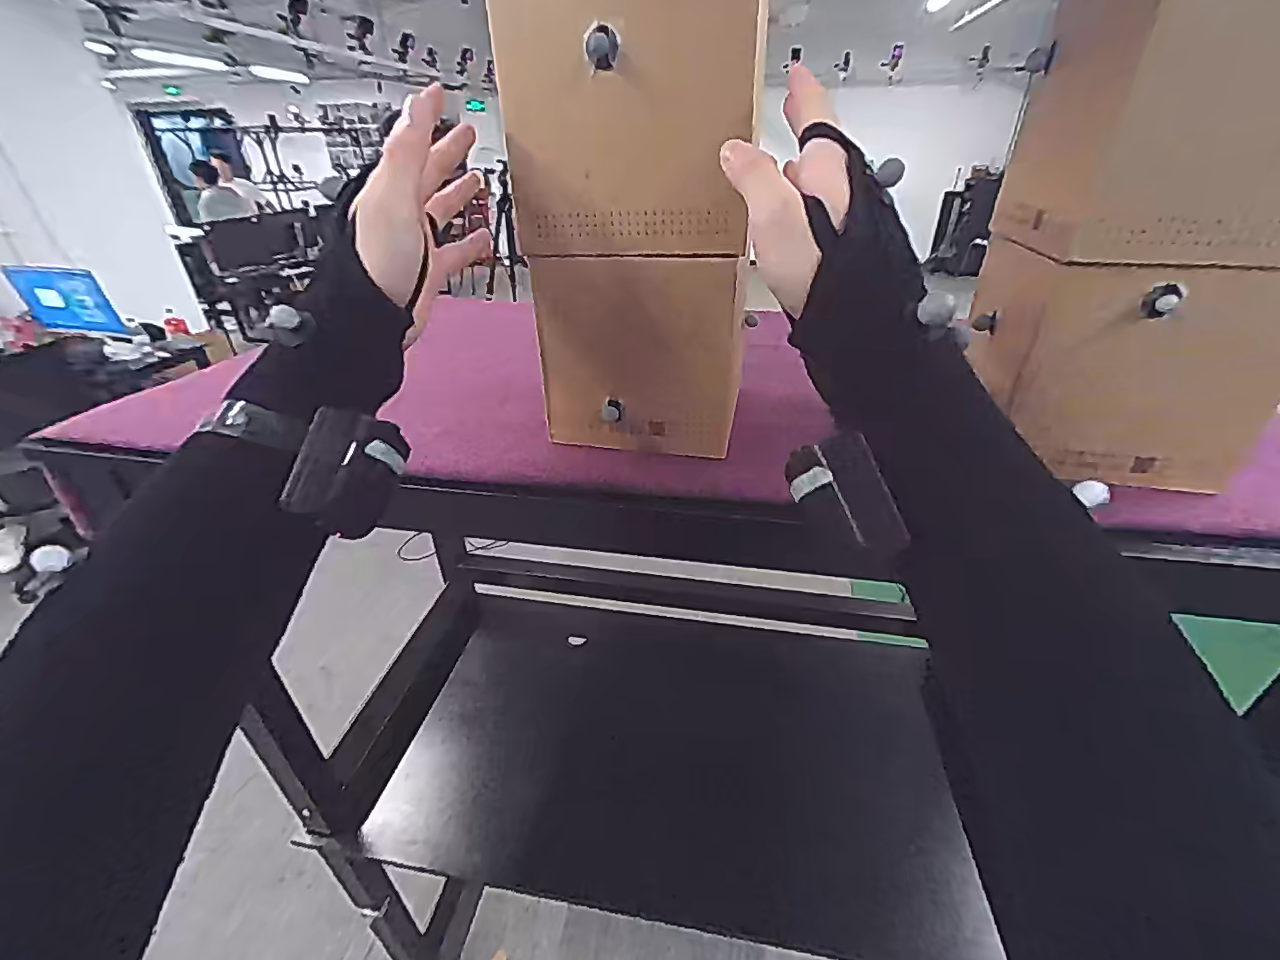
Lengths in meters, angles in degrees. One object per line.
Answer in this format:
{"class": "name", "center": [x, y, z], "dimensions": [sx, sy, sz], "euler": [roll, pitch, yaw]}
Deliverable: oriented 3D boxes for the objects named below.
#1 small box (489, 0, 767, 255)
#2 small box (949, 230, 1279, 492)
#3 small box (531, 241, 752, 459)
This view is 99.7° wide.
{"class": "small box", "center": [0.005, -0.277, 0.430], "dimensions": [0.179, 0.176, 0.168], "euler": [5, 31, 12]}
{"class": "small box", "center": [0.387, -0.110, 0.460], "dimensions": [0.168, 0.176, 0.179], "euler": [6, 32, 13]}
{"class": "small box", "center": [0.012, -0.138, 0.517], "dimensions": [0.168, 0.176, 0.179], "euler": [5, 31, 12]}
